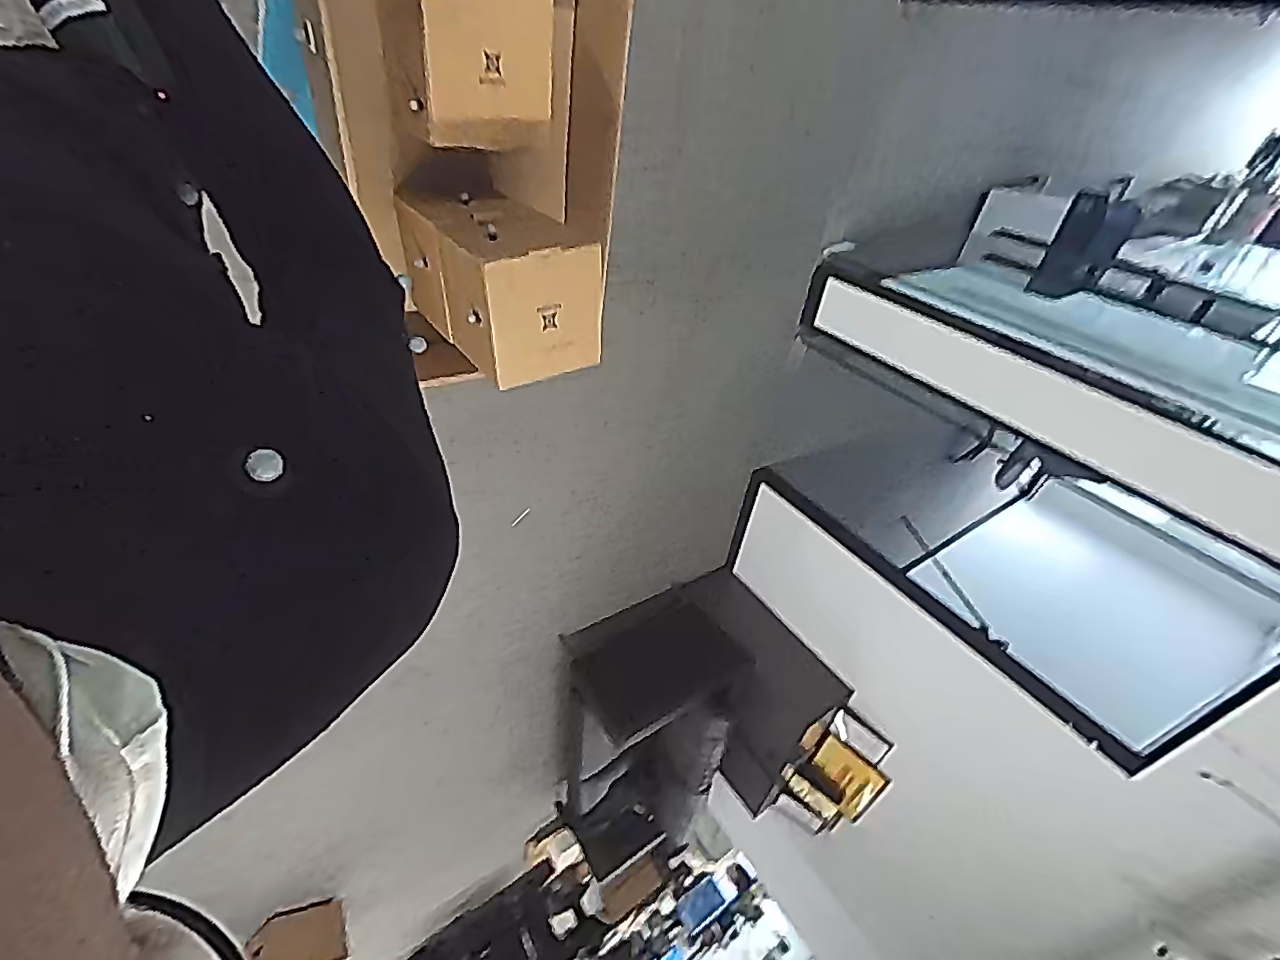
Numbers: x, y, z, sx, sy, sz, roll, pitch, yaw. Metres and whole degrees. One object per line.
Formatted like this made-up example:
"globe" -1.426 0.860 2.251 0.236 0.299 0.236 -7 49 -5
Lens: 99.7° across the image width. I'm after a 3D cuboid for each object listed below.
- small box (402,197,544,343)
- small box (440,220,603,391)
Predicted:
"small box" -0.262 -0.344 0.865 0.168 0.176 0.179 -21 136 -30
"small box" -0.167 -0.256 0.766 0.168 0.176 0.179 -22 137 -28
